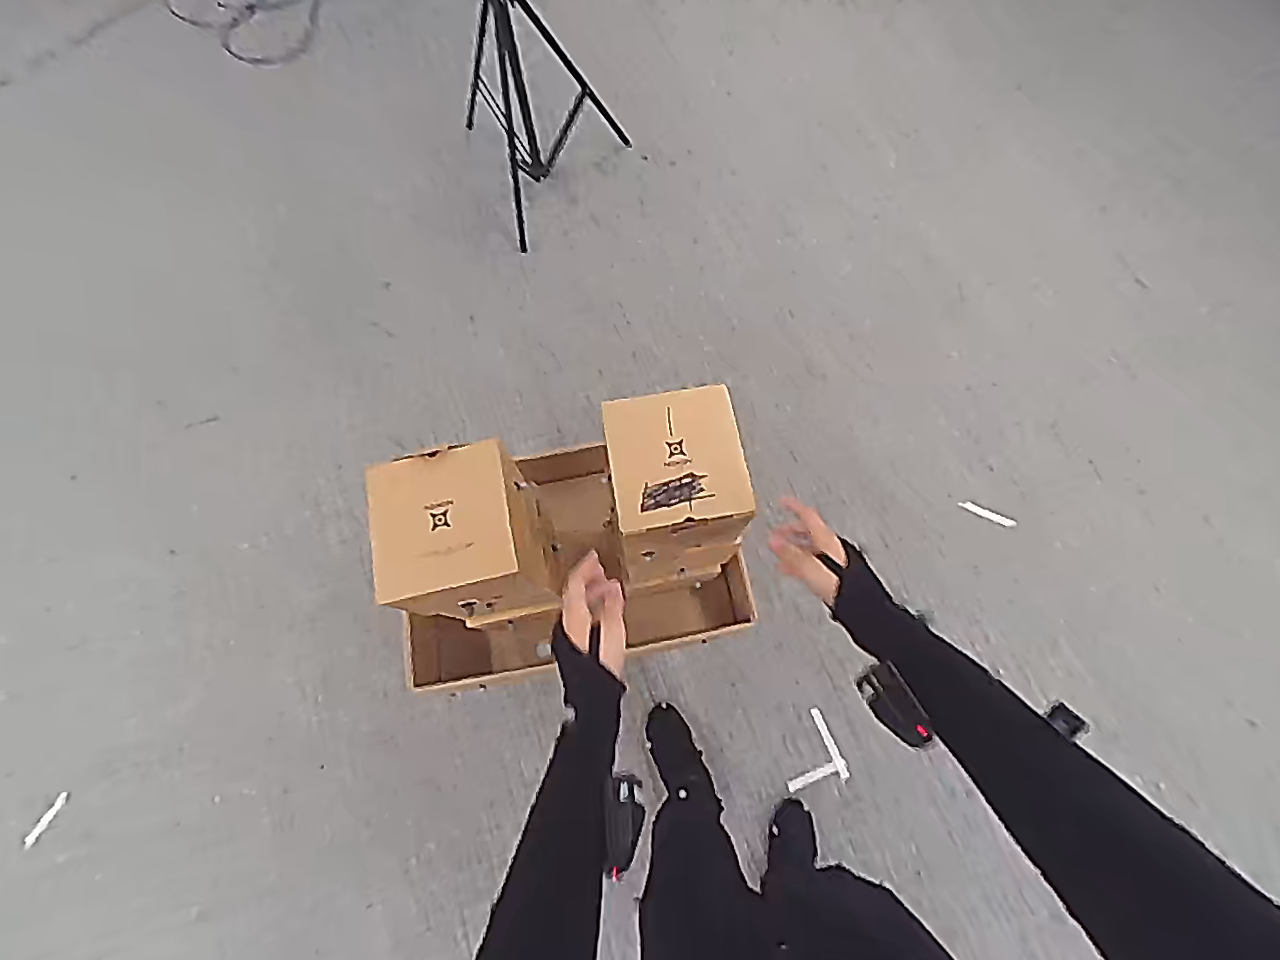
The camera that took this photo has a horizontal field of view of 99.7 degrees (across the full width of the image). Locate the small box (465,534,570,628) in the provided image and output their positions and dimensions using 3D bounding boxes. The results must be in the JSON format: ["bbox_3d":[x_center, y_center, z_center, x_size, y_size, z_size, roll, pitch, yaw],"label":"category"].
[{"bbox_3d":[-0.233,0.178,1.023,0.168,0.176,0.179,-12,72,-4],"label":"small box"}]

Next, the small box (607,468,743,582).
[{"bbox_3d":[0.048,0.060,0.881,0.179,0.176,0.168,-12,72,-4],"label":"small box"}]

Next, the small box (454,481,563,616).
[{"bbox_3d":[-0.231,0.118,0.869,0.179,0.176,0.168,-10,72,-4],"label":"small box"}]

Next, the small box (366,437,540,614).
[{"bbox_3d":[-0.237,0.068,0.713,0.168,0.176,0.179,-13,71,-3],"label":"small box"}]

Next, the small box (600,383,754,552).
[{"bbox_3d":[0.043,-0.006,0.729,0.168,0.176,0.179,-9,71,-3],"label":"small box"}]
